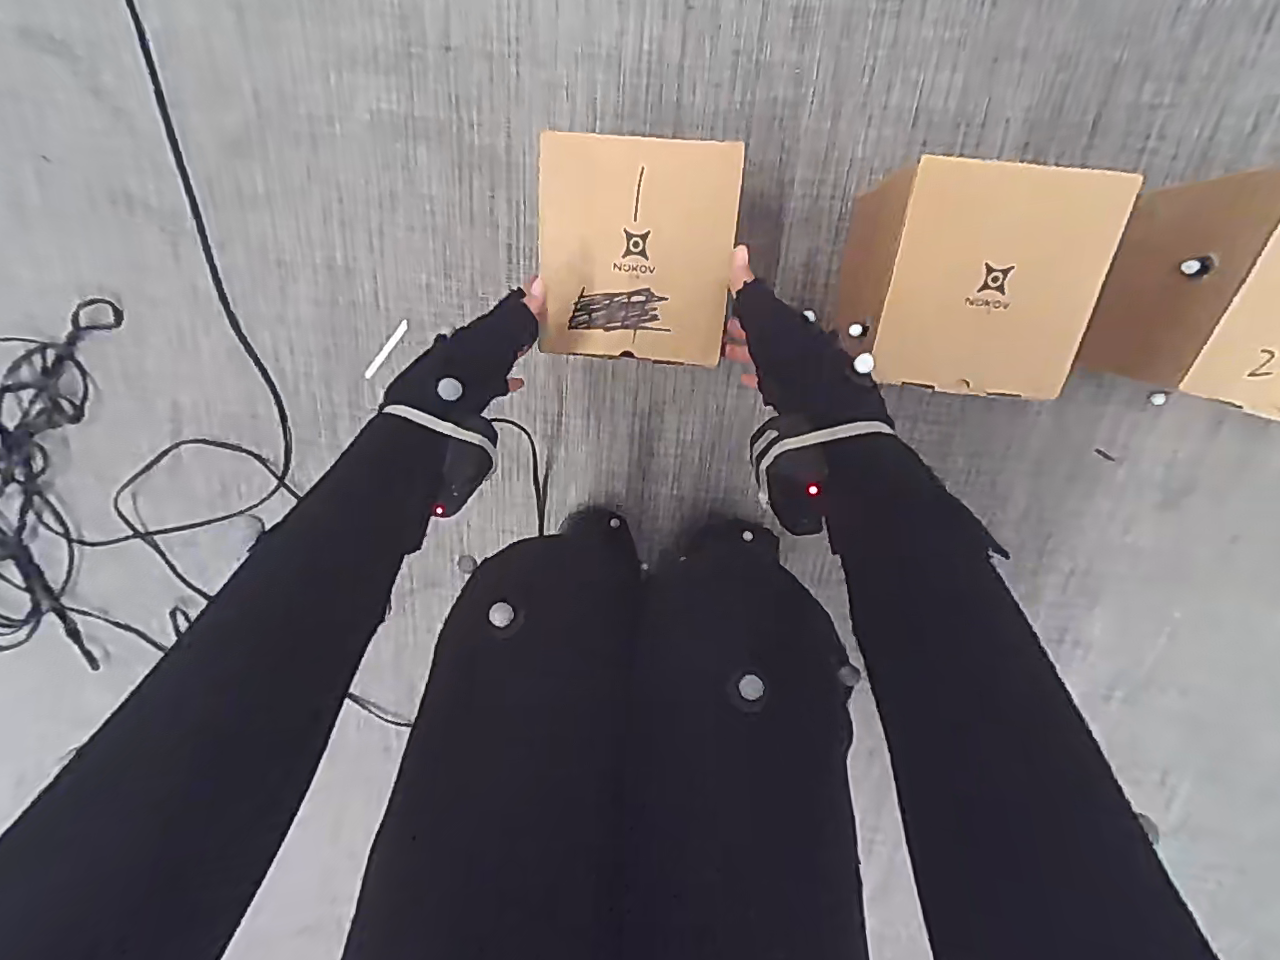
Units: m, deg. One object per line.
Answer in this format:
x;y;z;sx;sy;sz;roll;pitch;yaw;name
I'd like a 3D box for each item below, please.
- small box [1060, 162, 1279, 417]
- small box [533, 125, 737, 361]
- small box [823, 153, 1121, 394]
0.542;-0.169;0.502;0.168;0.176;0.179;15;111;2;small box
-0.002;-0.223;0.534;0.168;0.176;0.179;6;110;3;small box
0.287;-0.190;0.519;0.168;0.176;0.179;6;110;4;small box
